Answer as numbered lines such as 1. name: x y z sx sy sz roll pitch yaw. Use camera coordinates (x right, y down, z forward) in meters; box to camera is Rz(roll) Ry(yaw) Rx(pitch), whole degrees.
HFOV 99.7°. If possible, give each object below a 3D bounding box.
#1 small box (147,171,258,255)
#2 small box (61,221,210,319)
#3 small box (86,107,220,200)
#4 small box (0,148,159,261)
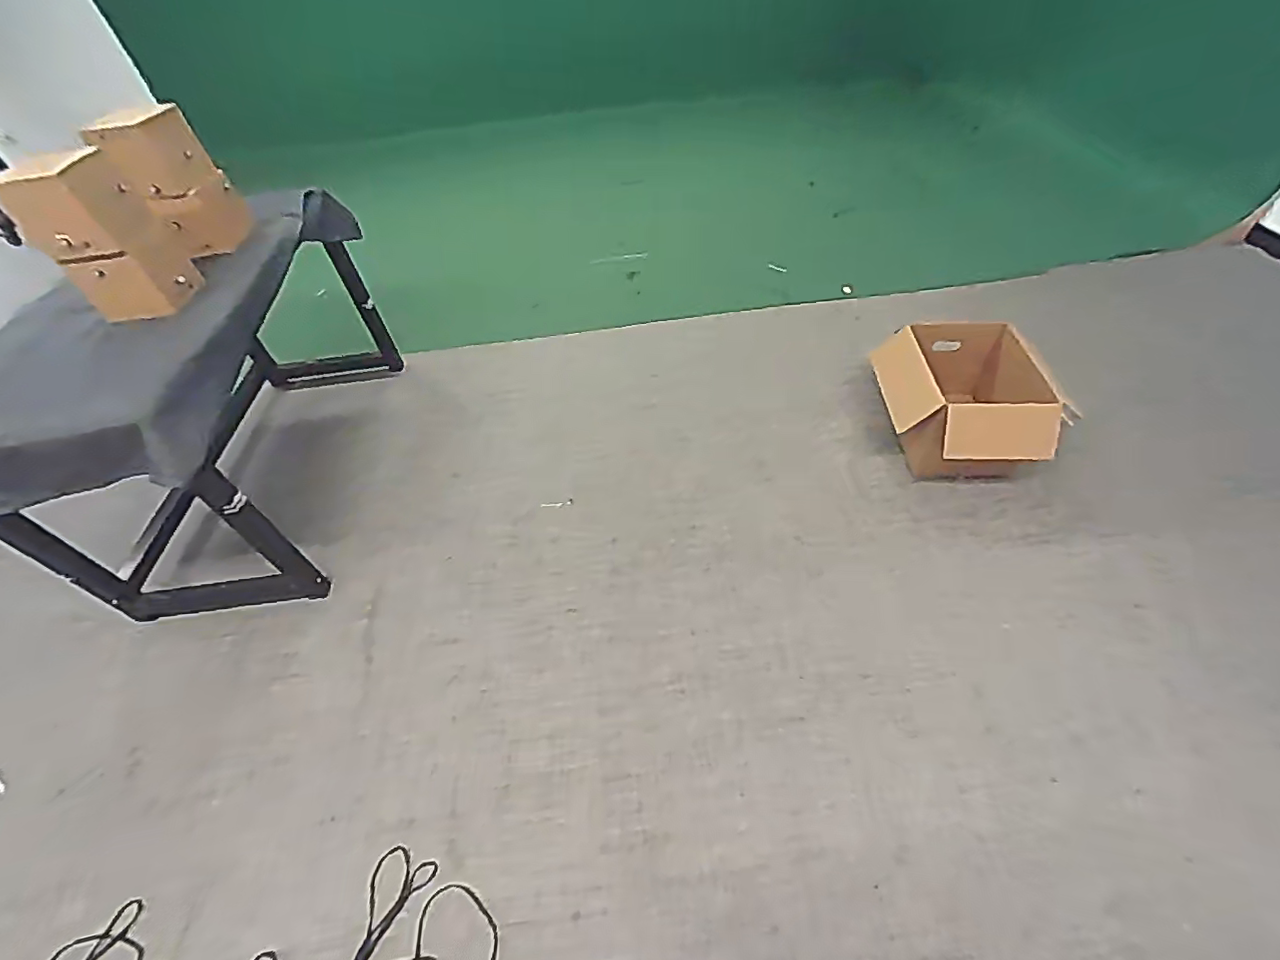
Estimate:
1. small box: -1.268 -0.771 1.578 0.168 0.176 0.179 -7 48 2
2. small box: -1.248 -0.521 1.354 0.179 0.176 0.168 -7 49 0
3. small box: -1.297 -0.877 1.450 0.168 0.176 0.179 -4 49 4
4. small box: -1.260 -0.623 1.228 0.168 0.176 0.179 -9 50 0
